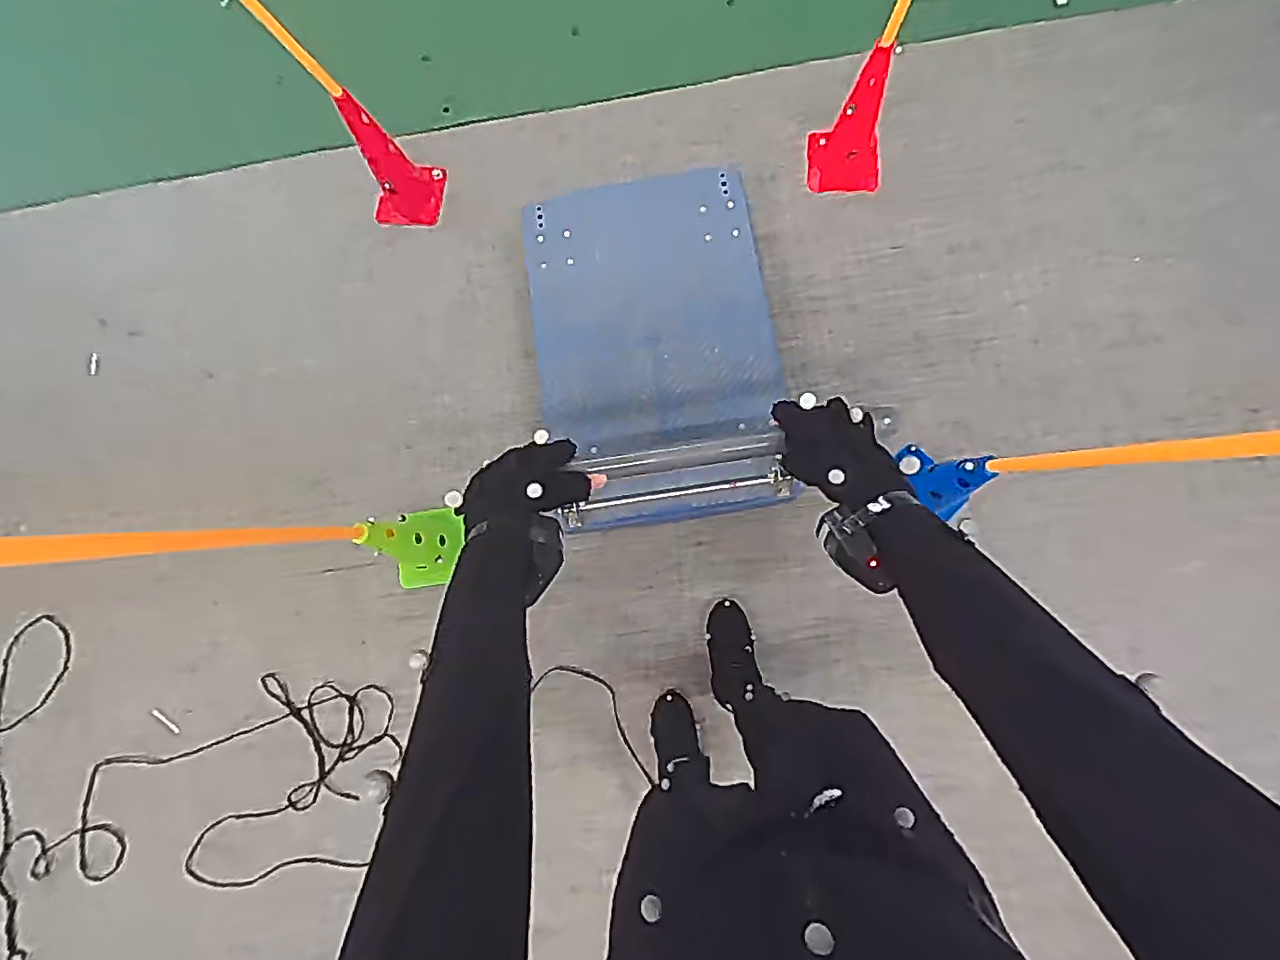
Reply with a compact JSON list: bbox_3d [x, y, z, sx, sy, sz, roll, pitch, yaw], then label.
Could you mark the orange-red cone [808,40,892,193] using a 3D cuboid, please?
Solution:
[{"bbox_3d":[0.573,-0.948,1.397,0.198,0.360,0.199,3,80,6],"label":"orange-red cone"}]
